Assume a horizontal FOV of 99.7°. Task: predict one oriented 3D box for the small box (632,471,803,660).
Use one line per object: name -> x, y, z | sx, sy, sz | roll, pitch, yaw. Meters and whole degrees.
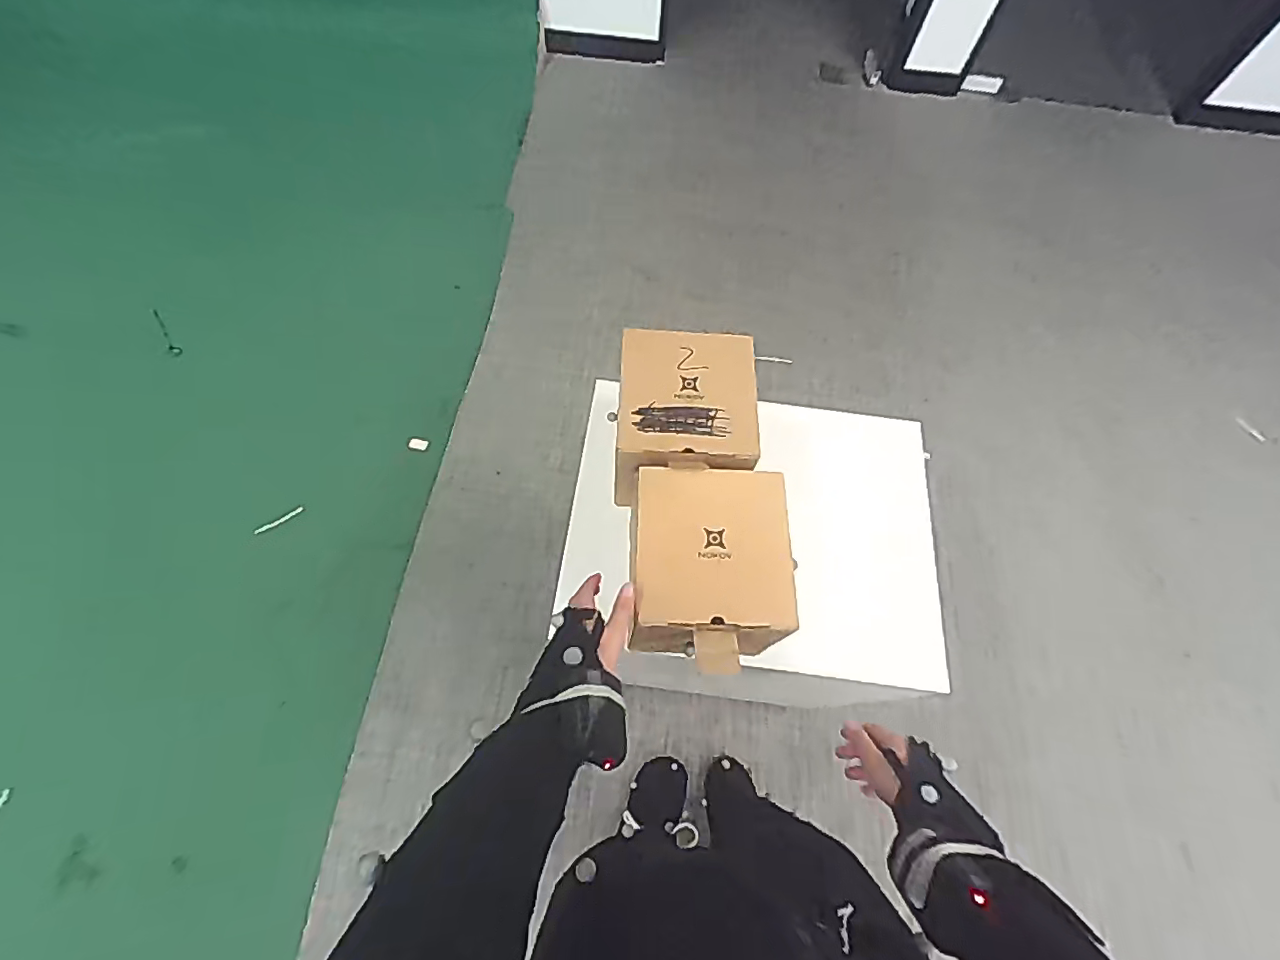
small box -> 0.077, 0.107, 0.636 | 0.168, 0.176, 0.179 | 2, 64, -3
